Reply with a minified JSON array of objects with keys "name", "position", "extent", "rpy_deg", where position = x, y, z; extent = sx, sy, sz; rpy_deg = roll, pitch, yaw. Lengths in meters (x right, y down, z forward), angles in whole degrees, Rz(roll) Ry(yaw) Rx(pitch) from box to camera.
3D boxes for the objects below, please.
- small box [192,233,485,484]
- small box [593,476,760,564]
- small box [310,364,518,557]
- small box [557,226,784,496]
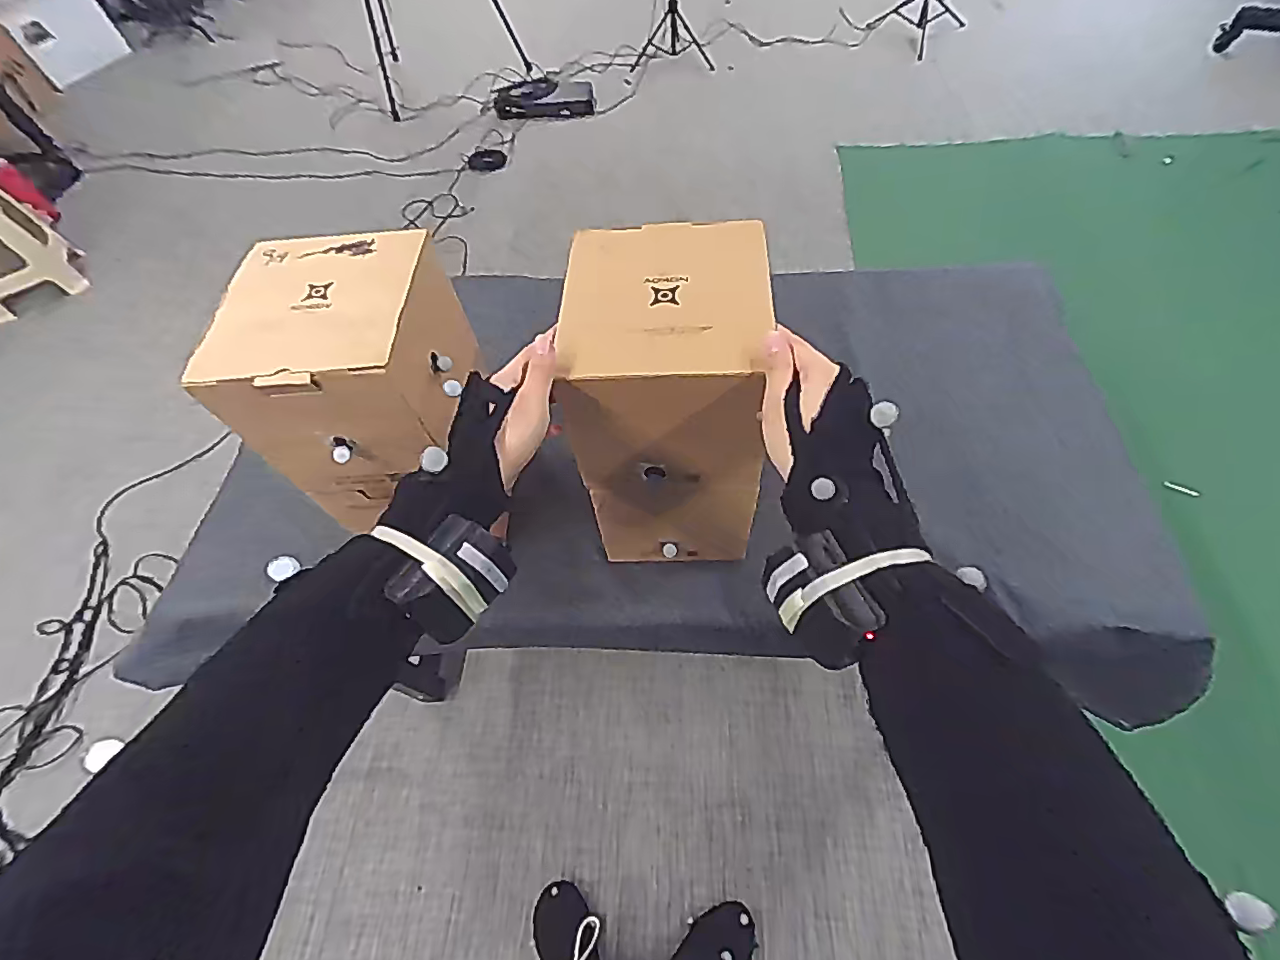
[{"name":"small box","position":[-0.262,-0.105,0.524],"extent":[0.168,0.176,0.179],"rpy_deg":[-3,58,3]},{"name":"small box","position":[0.042,-0.017,0.633],"extent":[0.168,0.176,0.179],"rpy_deg":[-1,57,5]},{"name":"small box","position":[-0.255,-0.020,0.664],"extent":[0.168,0.176,0.179],"rpy_deg":[-2,58,3]},{"name":"small box","position":[0.031,-0.102,0.495],"extent":[0.168,0.176,0.179],"rpy_deg":[-1,58,6]}]
